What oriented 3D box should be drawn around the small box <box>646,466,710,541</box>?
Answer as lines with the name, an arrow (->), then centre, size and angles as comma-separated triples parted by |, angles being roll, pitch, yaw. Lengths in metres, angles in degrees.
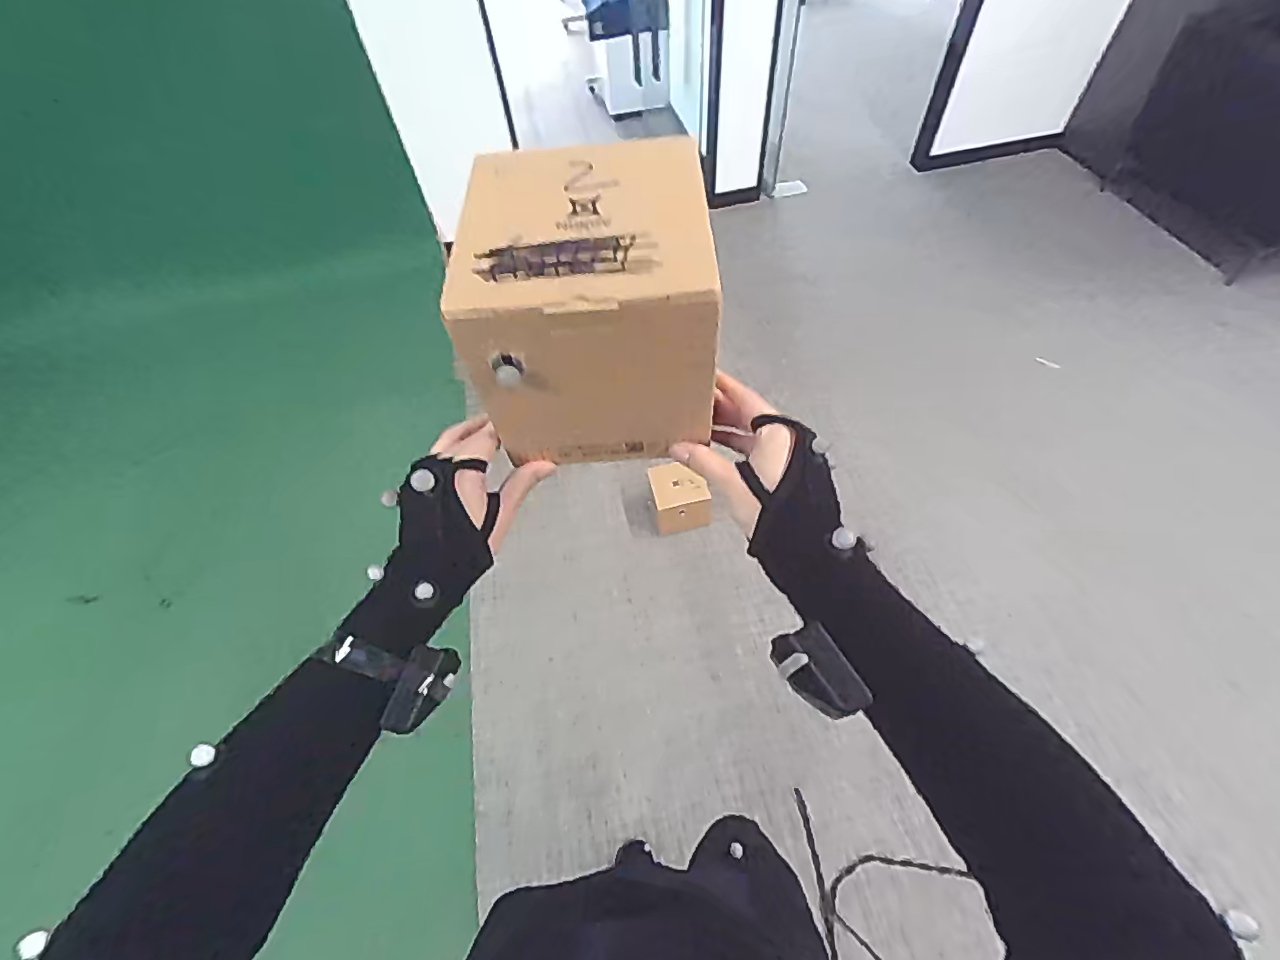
small box -> 0.126, 0.082, 1.790 | 0.179, 0.176, 0.168 | -12, 55, -5
